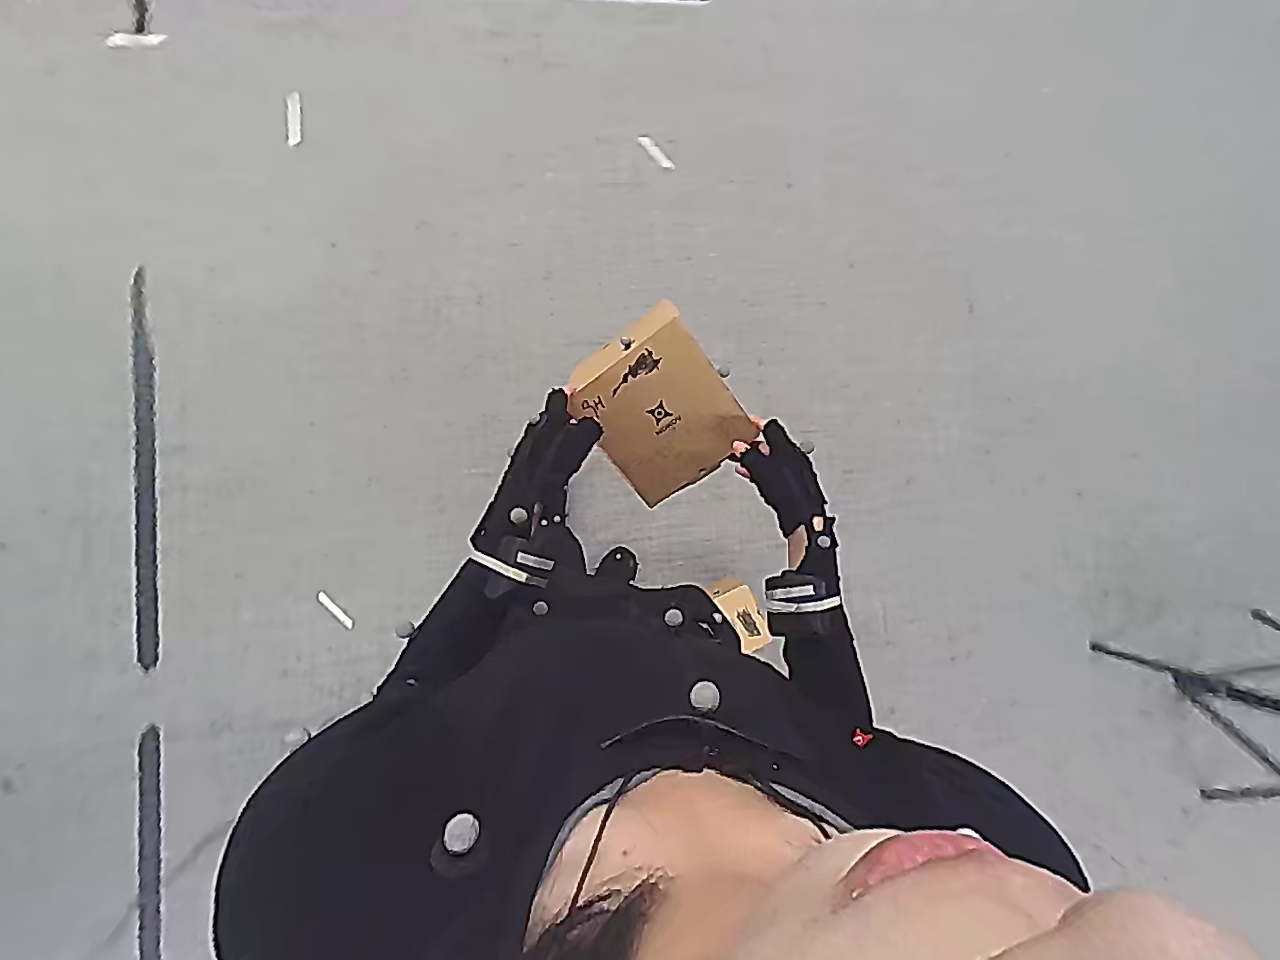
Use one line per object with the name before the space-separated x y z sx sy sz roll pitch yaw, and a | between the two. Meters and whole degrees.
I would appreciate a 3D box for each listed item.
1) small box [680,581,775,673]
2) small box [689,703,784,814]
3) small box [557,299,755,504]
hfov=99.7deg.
small box | 0.226 0.382 1.446 0.179 0.176 0.168 -24 88 -7
small box | 0.247 0.721 1.422 0.168 0.176 0.179 -23 87 -8
small box | 0.019 -0.108 0.690 0.168 0.176 0.179 -36 111 13
